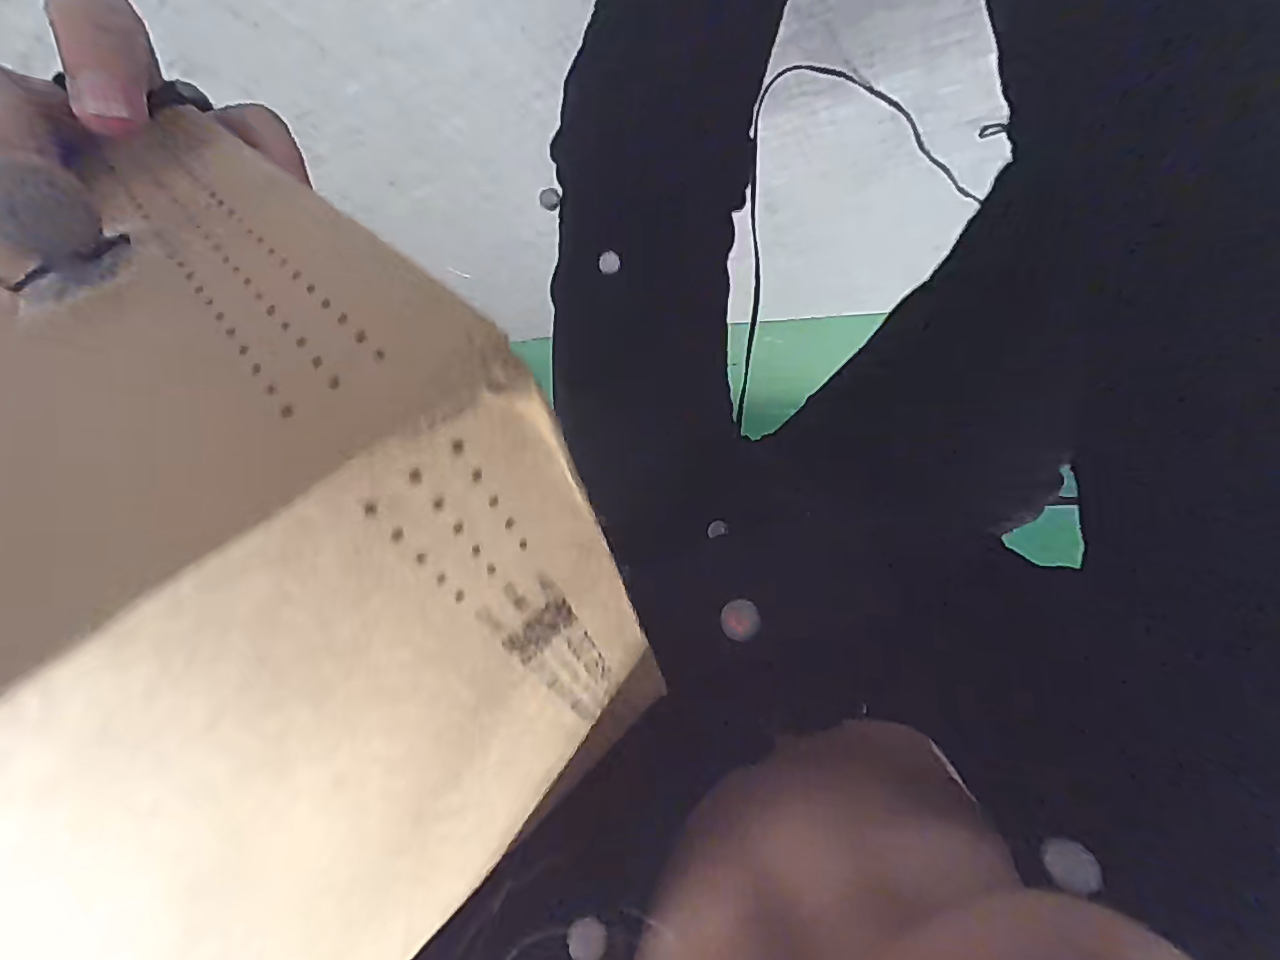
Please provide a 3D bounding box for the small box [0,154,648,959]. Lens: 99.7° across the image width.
[{"bbox_3d":[-0.121,0.033,0.161,0.179,0.176,0.168,39,158,31],"label":"small box"}]
